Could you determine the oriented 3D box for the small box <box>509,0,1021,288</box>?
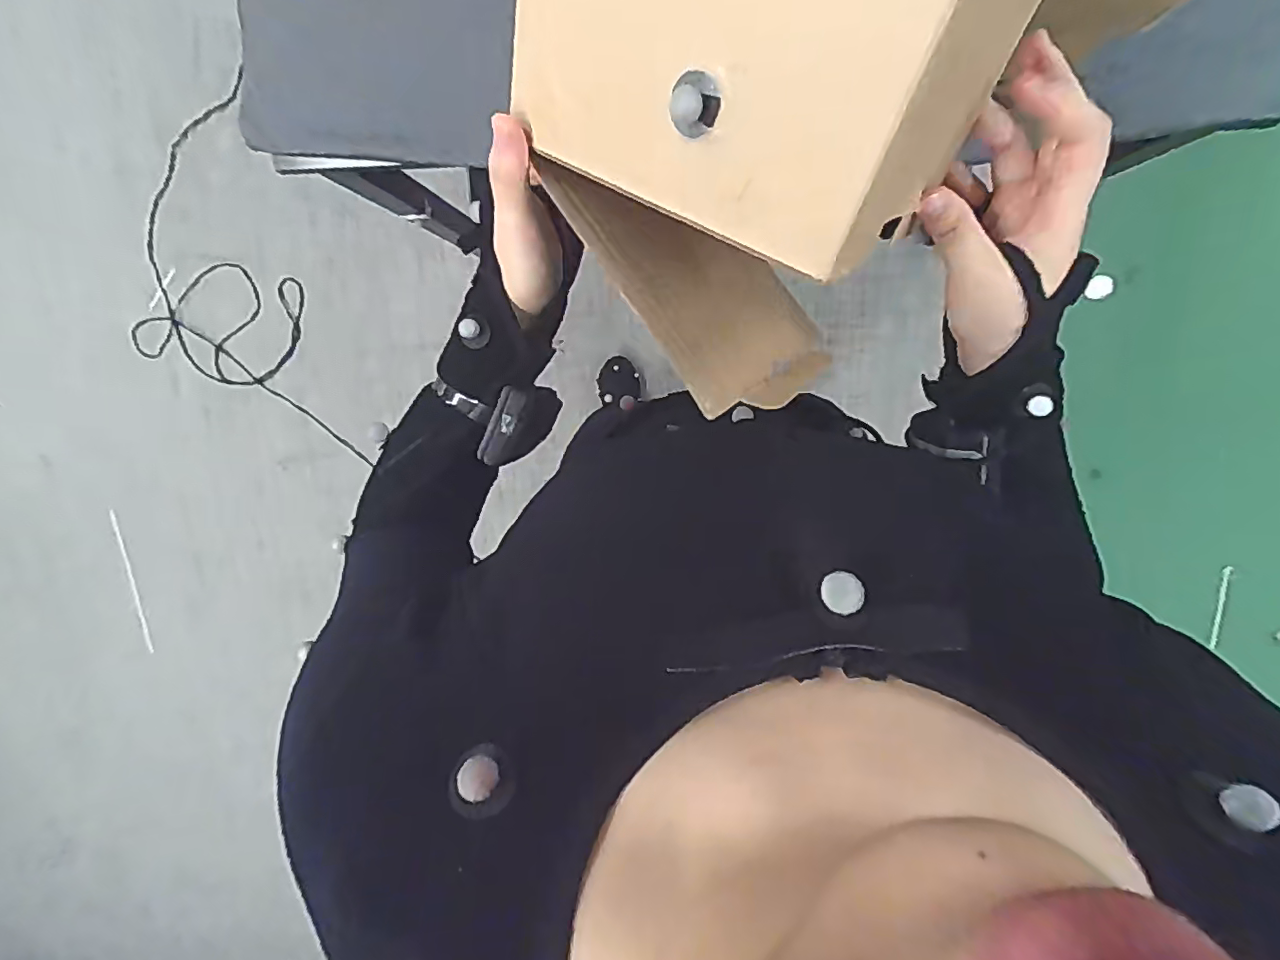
[{"bbox_3d":[0.063,-0.217,0.242,0.179,0.168,0.176,35,134,18],"label":"small box"}]

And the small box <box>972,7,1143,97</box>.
[{"bbox_3d":[0.376,-0.515,0.531,0.168,0.176,0.179,1,102,4],"label":"small box"}]
